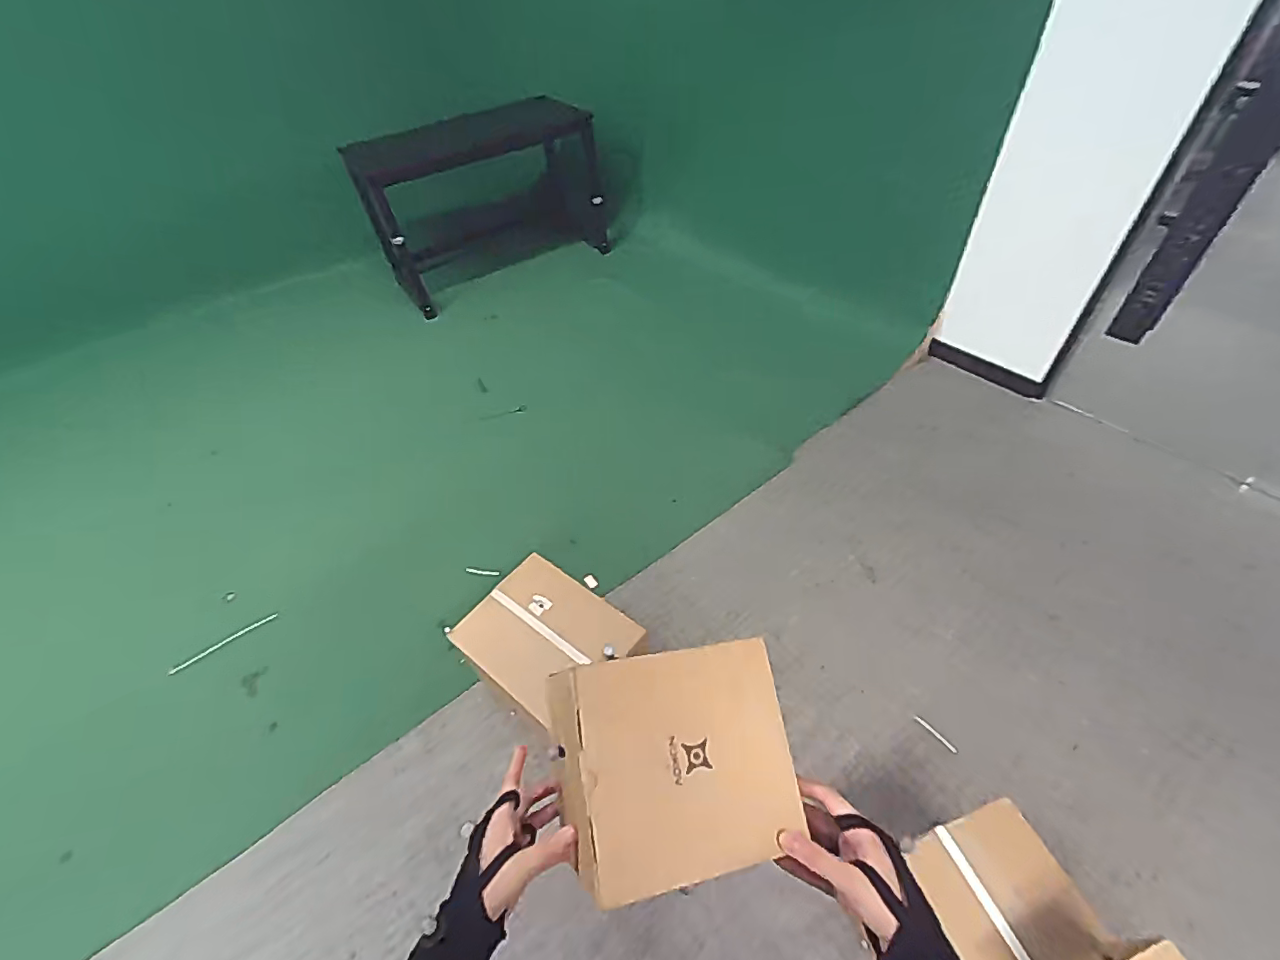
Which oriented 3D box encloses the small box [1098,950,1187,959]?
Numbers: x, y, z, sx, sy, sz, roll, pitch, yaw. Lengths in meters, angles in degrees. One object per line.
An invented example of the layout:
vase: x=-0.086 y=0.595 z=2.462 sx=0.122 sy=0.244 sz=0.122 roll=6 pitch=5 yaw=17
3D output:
small box: x=0.682 y=0.771 z=0.728 sx=0.179 sy=0.176 sz=0.168 roll=-16 pitch=47 yaw=-10

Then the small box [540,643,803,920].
small box: x=0.013 y=0.252 z=0.496 sx=0.179 sy=0.176 sz=0.168 roll=-4 pitch=69 yaw=-19

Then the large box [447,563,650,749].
large box: x=-0.214 y=0.498 z=1.423 sx=0.408 sy=0.320 sz=0.320 roll=27 pitch=55 yaw=29
